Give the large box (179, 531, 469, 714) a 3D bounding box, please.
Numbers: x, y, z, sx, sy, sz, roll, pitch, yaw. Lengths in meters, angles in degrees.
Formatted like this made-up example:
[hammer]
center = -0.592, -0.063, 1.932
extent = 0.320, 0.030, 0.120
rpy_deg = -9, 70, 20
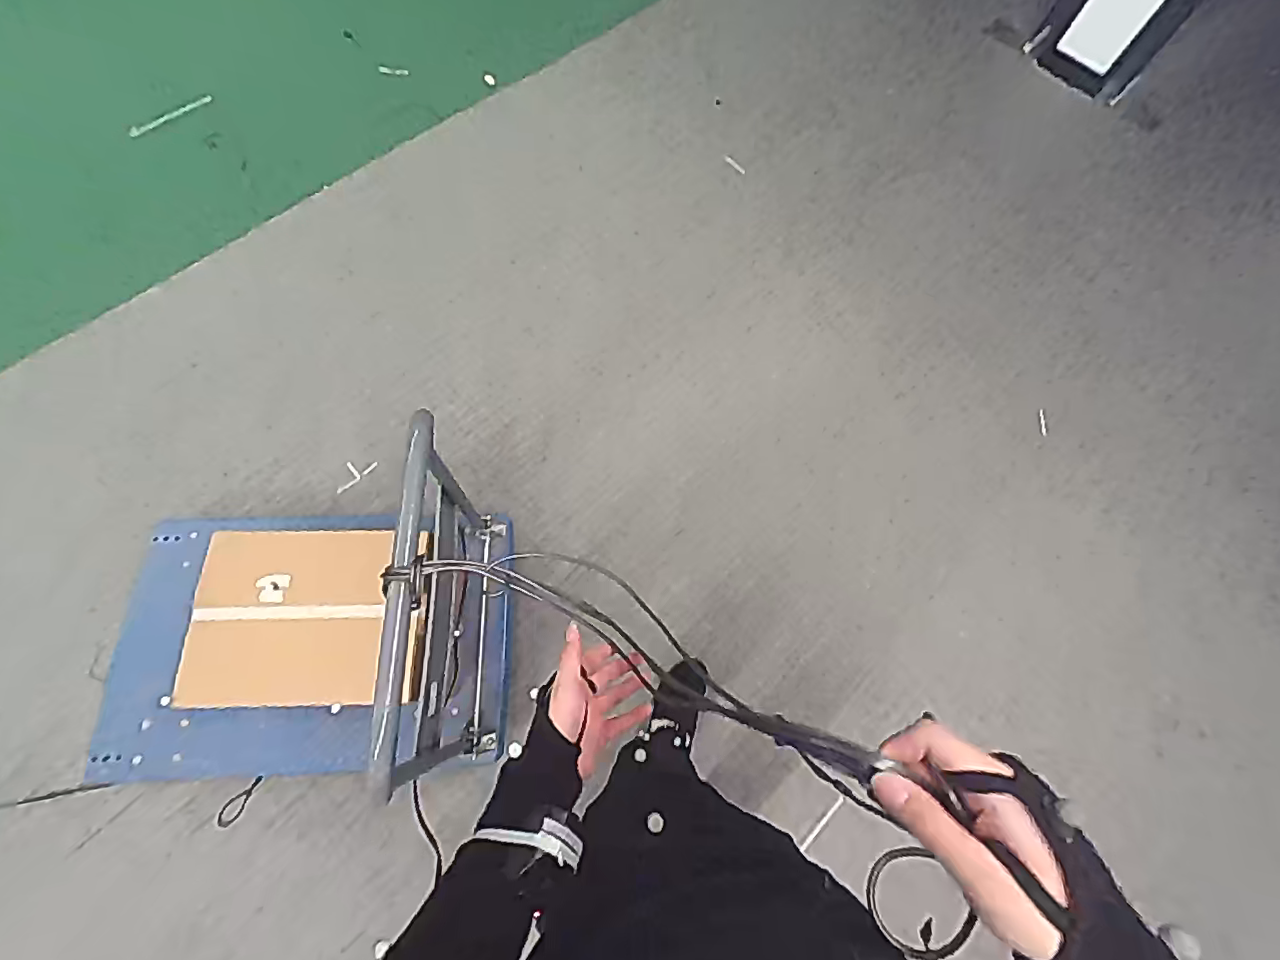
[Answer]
[large box]
center = -0.596, 0.295, 1.114
extent = 0.408, 0.320, 0.320
rpy_deg = -1, 70, -2
